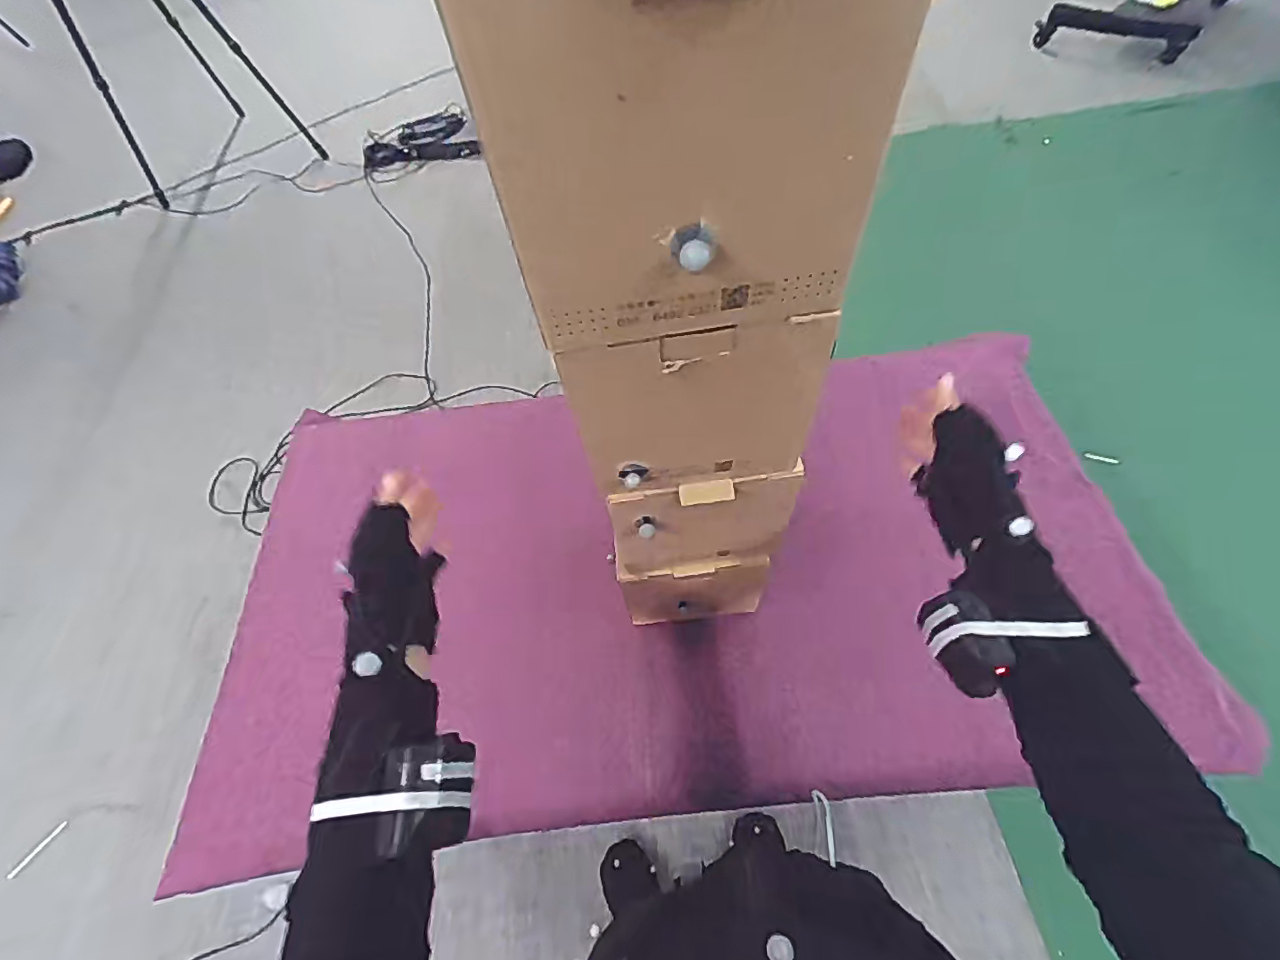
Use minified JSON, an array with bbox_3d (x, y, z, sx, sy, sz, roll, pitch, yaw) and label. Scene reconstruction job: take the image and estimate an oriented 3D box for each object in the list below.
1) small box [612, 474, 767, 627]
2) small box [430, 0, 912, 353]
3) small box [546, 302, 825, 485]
[{"bbox_3d":[0.056,0.073,0.693,0.168,0.176,0.179,-7,59,2],"label":"small box"},{"bbox_3d":[0.008,-0.194,0.280,0.168,0.176,0.179,-9,58,1],"label":"small box"},{"bbox_3d":[0.026,-0.109,0.419,0.168,0.176,0.179,-8,58,1],"label":"small box"}]
